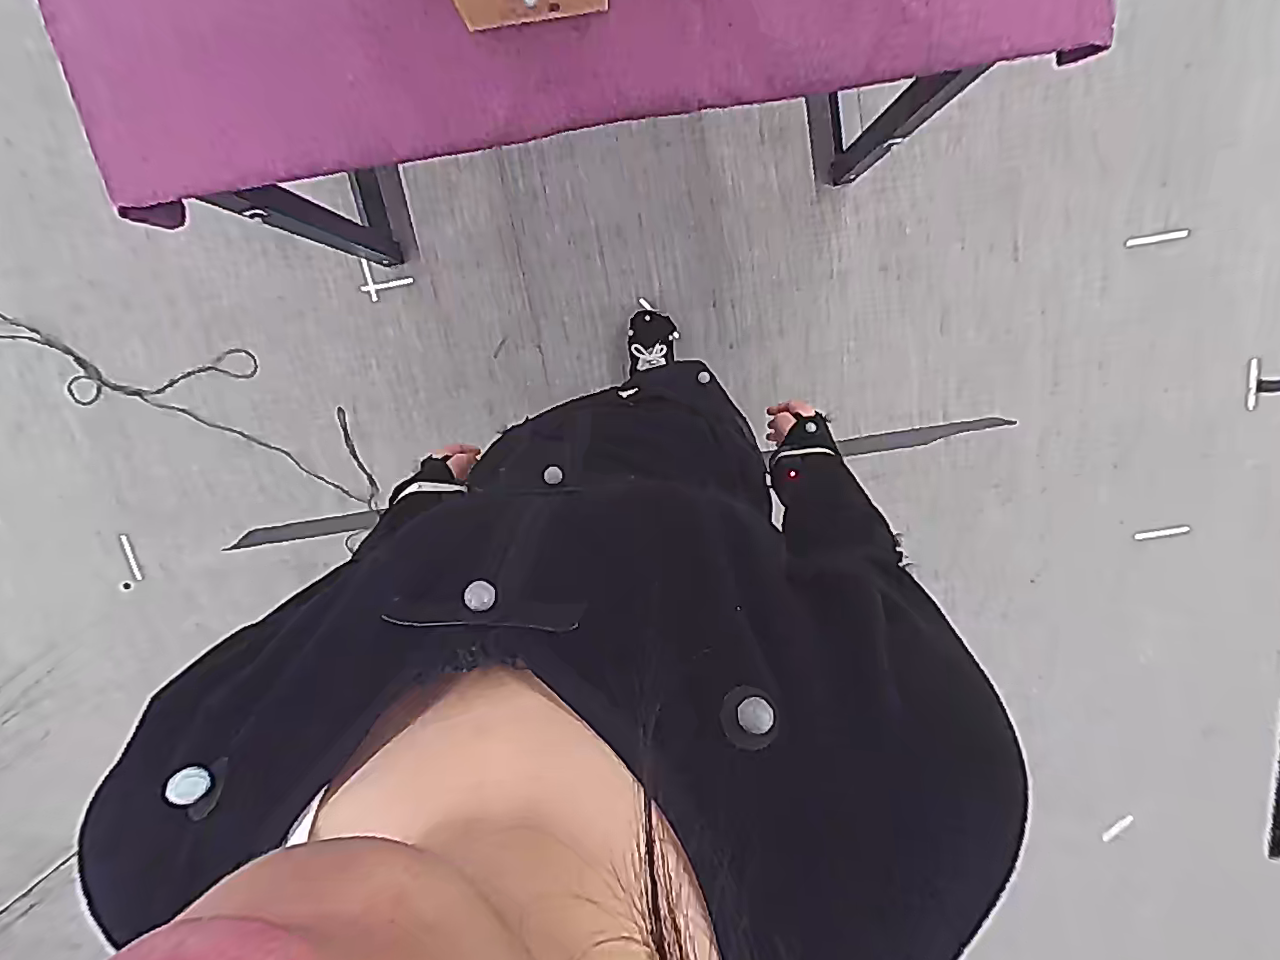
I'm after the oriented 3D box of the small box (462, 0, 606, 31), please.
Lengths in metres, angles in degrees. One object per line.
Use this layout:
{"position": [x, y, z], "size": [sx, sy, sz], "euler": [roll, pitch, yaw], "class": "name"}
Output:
{"position": [-0.128, -0.599, 0.532], "size": [0.168, 0.176, 0.179], "euler": [-7, 102, 2], "class": "small box"}
